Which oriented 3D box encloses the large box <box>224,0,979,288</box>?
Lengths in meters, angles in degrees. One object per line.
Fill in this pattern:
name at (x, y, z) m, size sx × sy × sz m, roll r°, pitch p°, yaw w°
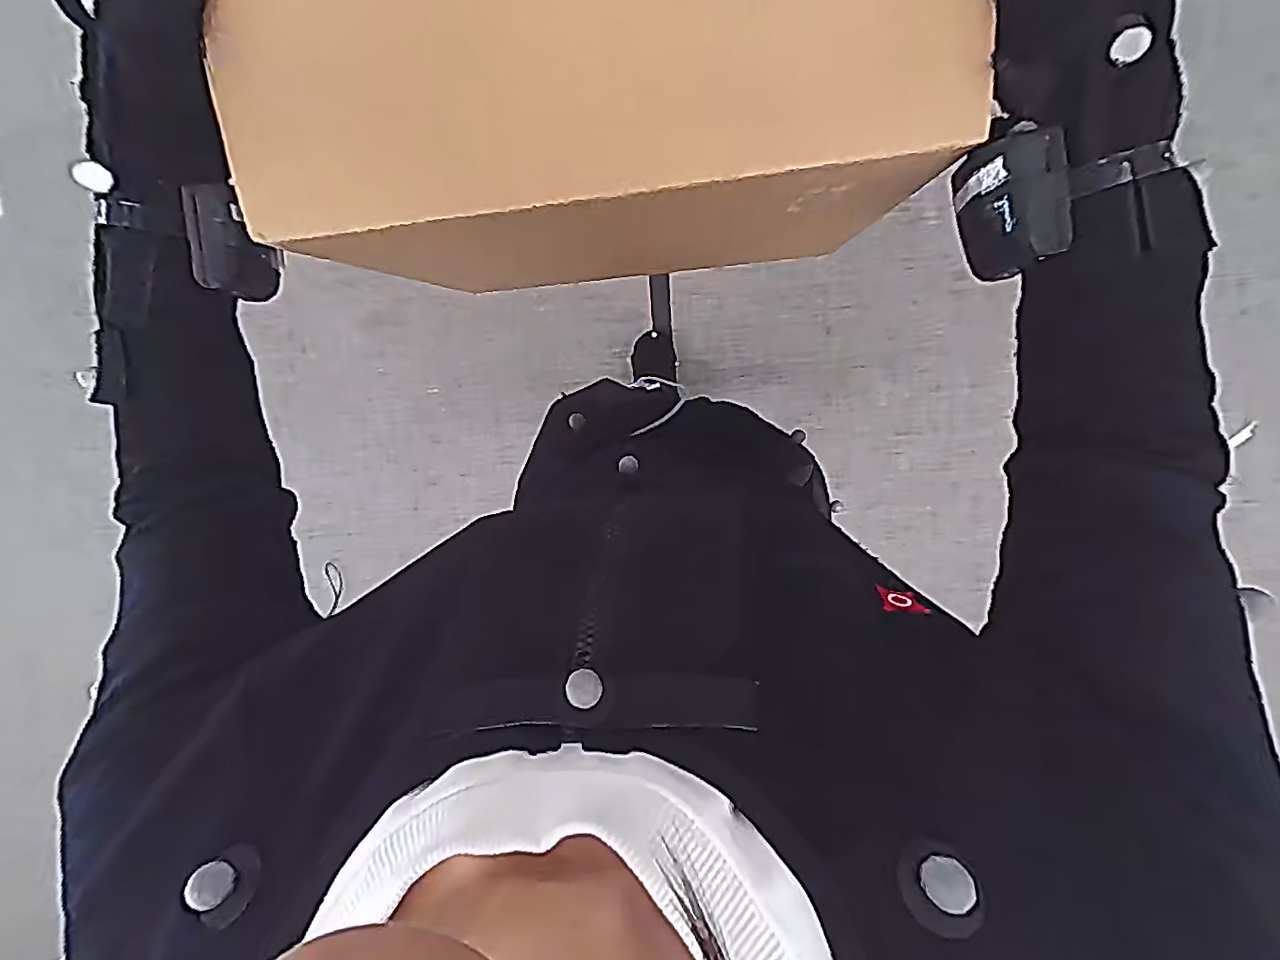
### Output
large box at (-0.025, -0.349, 0.416) m, size 0.408 × 0.320 × 0.320 m, roll -5°, pitch 104°, yaw 6°
